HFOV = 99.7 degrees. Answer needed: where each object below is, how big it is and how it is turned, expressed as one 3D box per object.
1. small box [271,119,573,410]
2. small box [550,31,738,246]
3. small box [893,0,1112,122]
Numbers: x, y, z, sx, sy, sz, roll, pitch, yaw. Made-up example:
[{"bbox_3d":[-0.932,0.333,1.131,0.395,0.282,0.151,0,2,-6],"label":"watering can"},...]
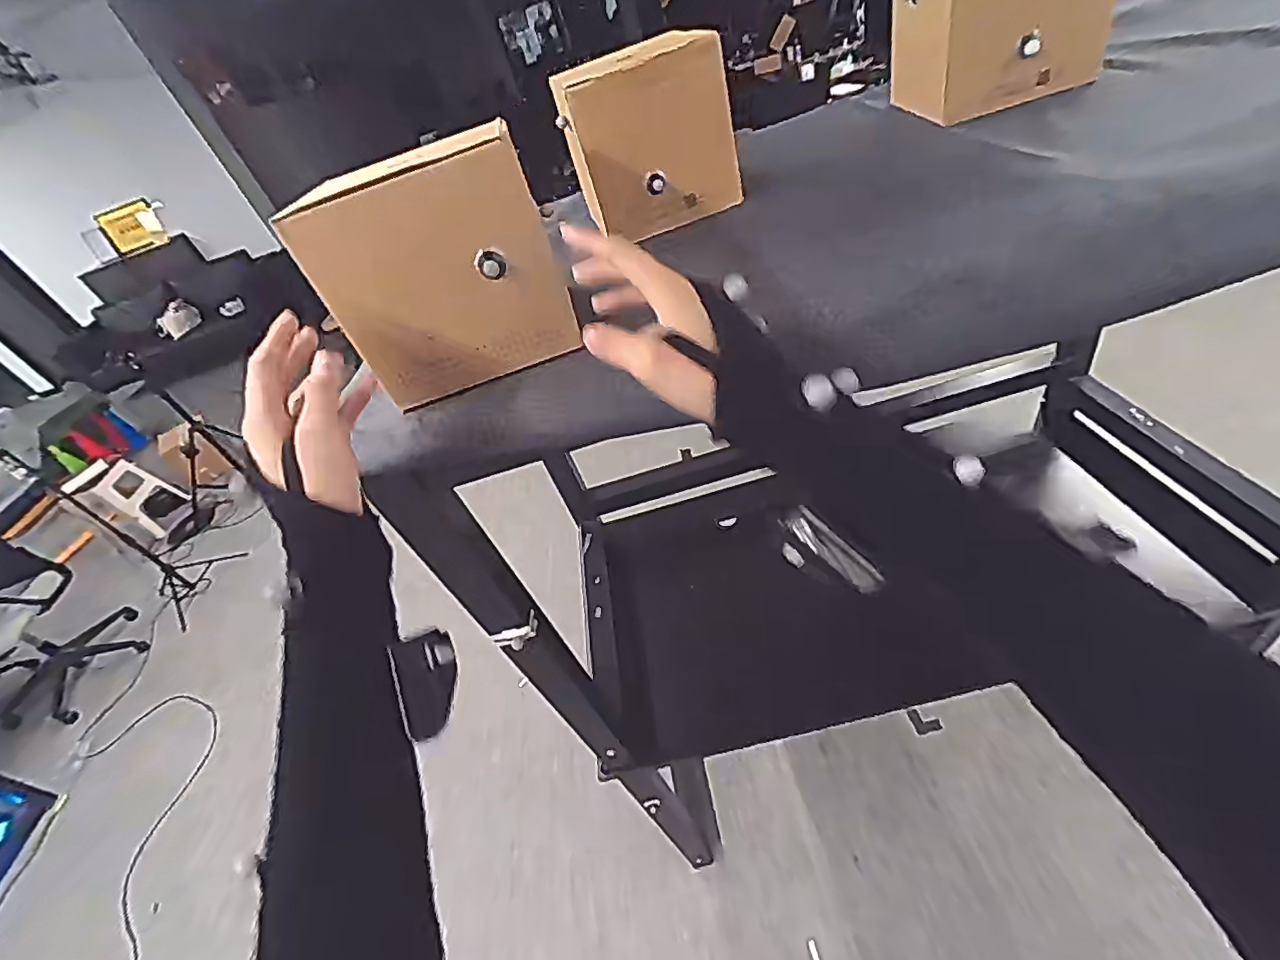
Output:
[{"bbox_3d":[-0.167,-0.190,0.480,0.179,0.176,0.168,-19,39,1],"label":"small box"},{"bbox_3d":[0.004,-0.406,0.649,0.168,0.176,0.179,-21,42,0],"label":"small box"},{"bbox_3d":[0.405,-0.541,0.625,0.168,0.176,0.179,-13,42,10],"label":"small box"}]
